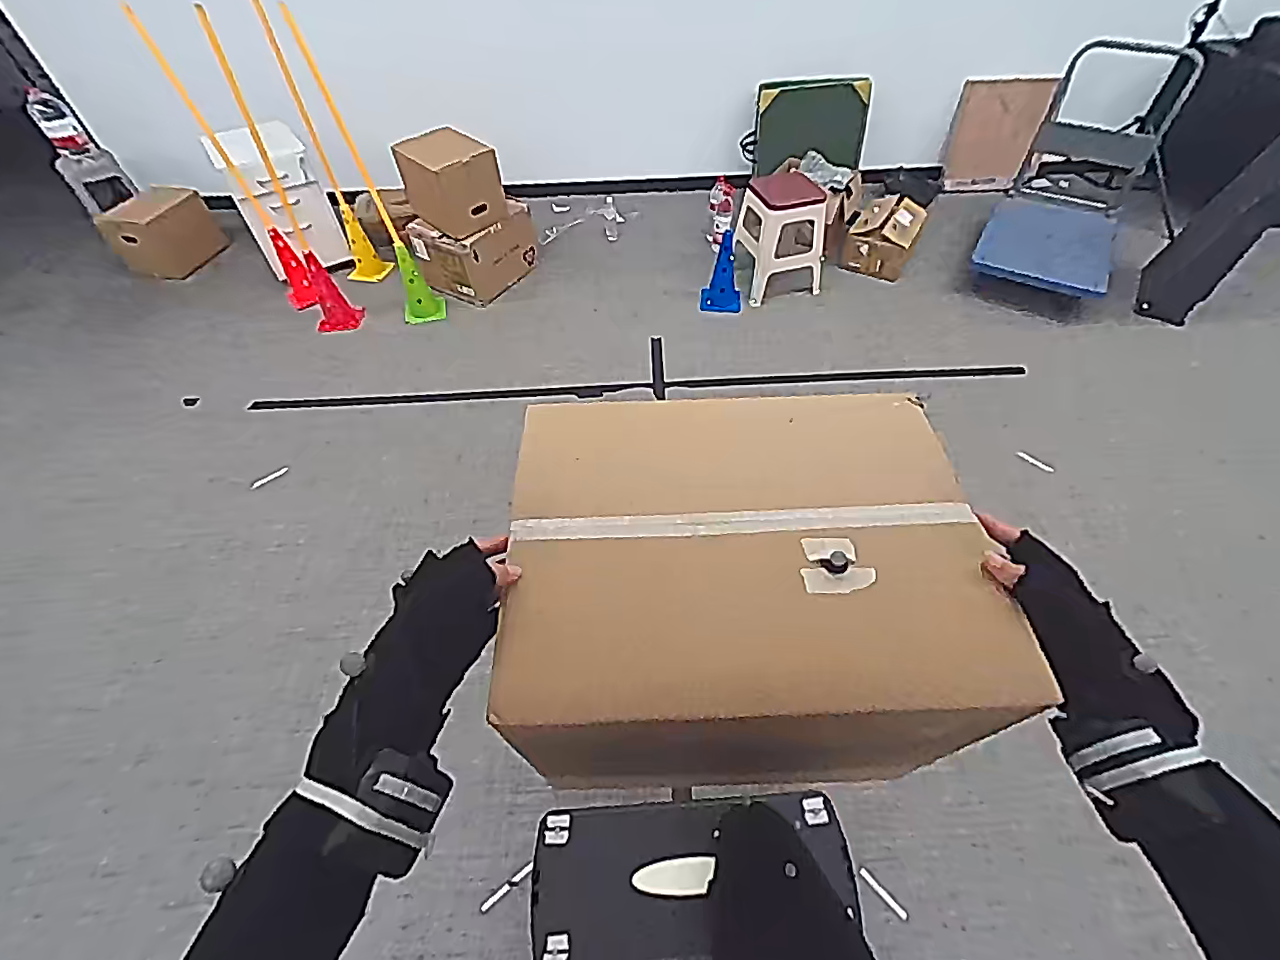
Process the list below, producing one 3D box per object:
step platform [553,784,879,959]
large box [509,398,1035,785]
[{"bbox_3d":[0.152,0.865,1.195,0.684,0.204,0.286,-4,51,-2],"label":"step platform"},{"bbox_3d":[0.092,0.132,0.605,0.408,0.320,0.320,-2,53,-1],"label":"large box"}]
